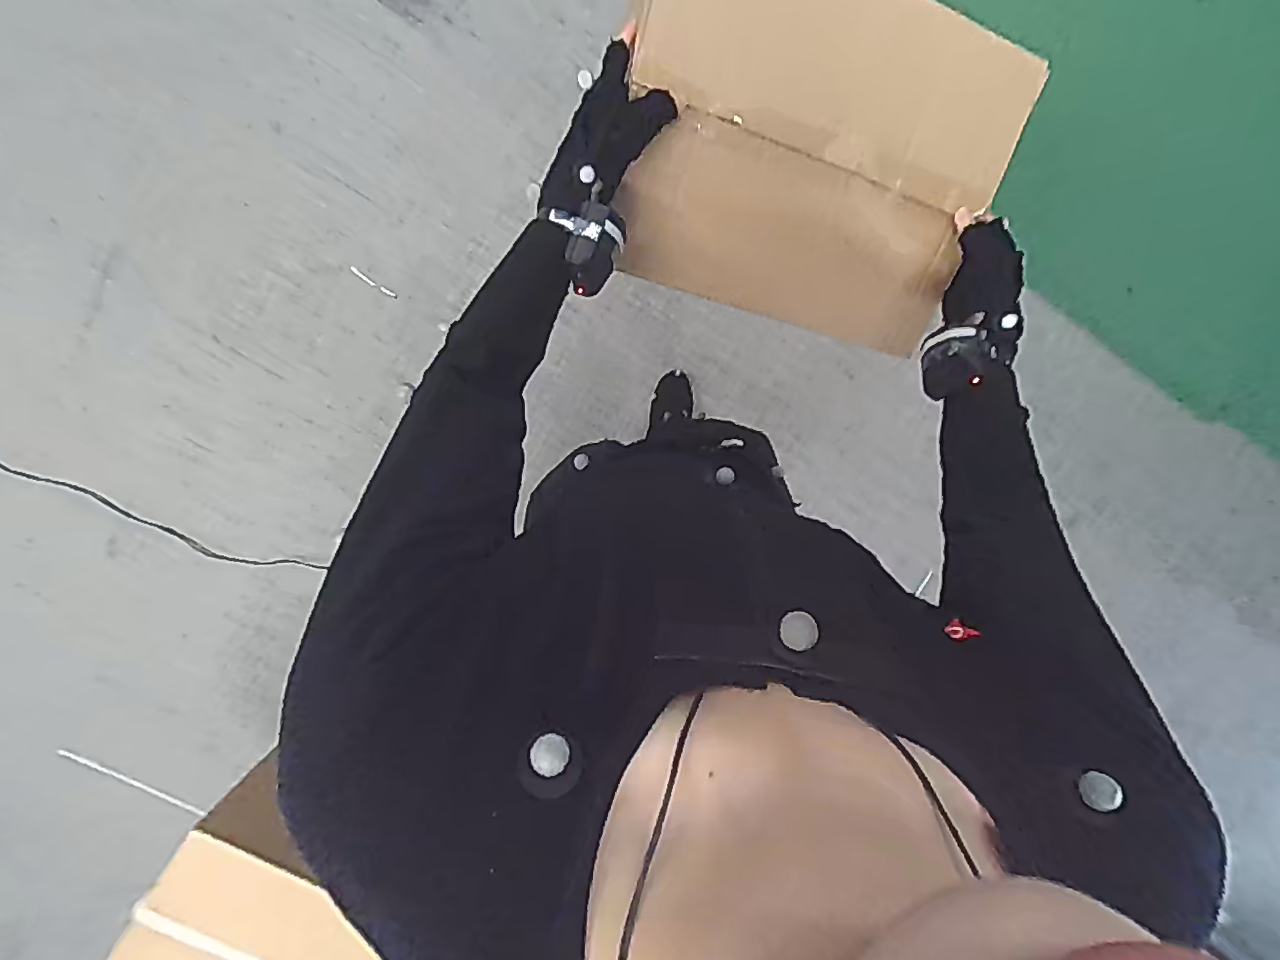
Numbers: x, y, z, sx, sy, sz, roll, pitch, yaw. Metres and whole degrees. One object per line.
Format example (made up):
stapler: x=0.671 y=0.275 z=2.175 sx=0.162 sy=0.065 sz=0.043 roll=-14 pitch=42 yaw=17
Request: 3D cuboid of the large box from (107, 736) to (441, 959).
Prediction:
large box: x=-0.680 y=0.794 z=1.070 sx=0.408 sy=0.320 sz=0.320 roll=33 pitch=89 yaw=-8
